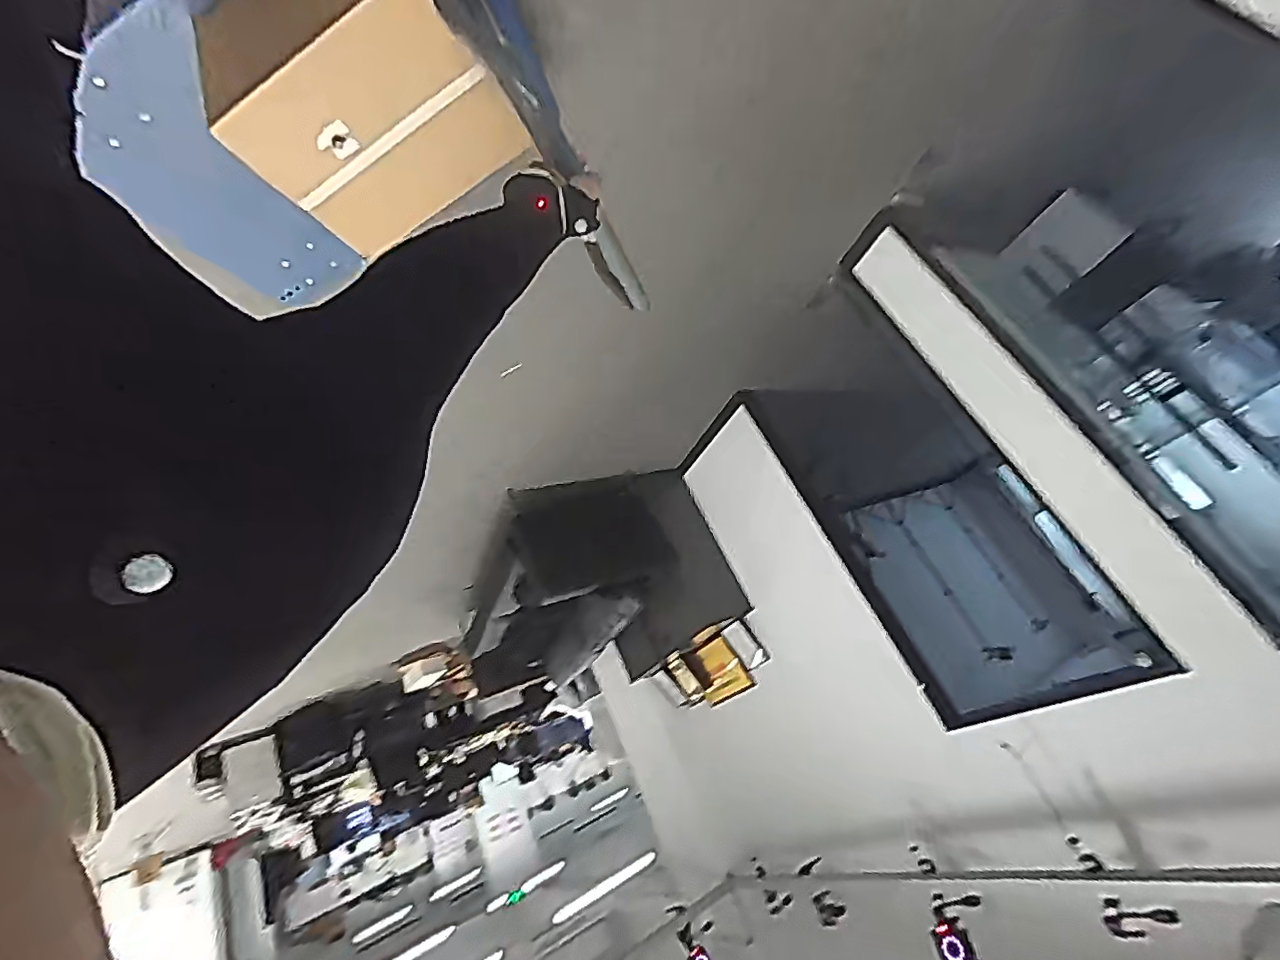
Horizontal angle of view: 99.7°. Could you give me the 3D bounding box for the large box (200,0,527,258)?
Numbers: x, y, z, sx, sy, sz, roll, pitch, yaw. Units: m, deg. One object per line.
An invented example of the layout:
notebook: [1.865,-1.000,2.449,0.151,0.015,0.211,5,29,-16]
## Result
large box: [-0.486,-0.706,0.975,0.408,0.320,0.320,-30,156,10]
